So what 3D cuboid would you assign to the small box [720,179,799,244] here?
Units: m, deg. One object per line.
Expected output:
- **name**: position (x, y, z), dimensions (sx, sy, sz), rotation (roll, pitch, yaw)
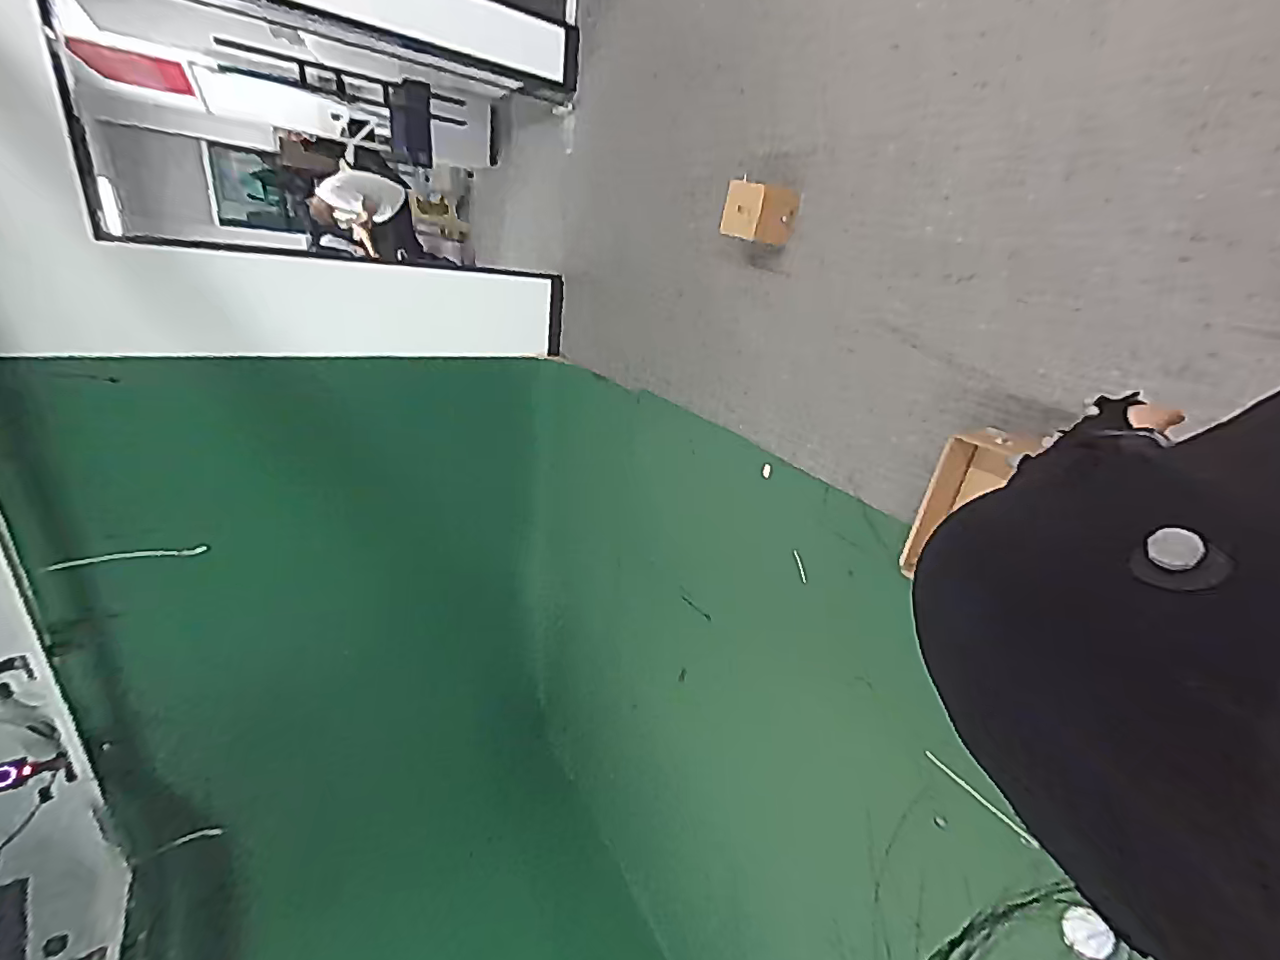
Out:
- **small box**: position (0.406, -0.910, 1.840), dimensions (0.179, 0.176, 0.168), rotation (42, 131, 44)
